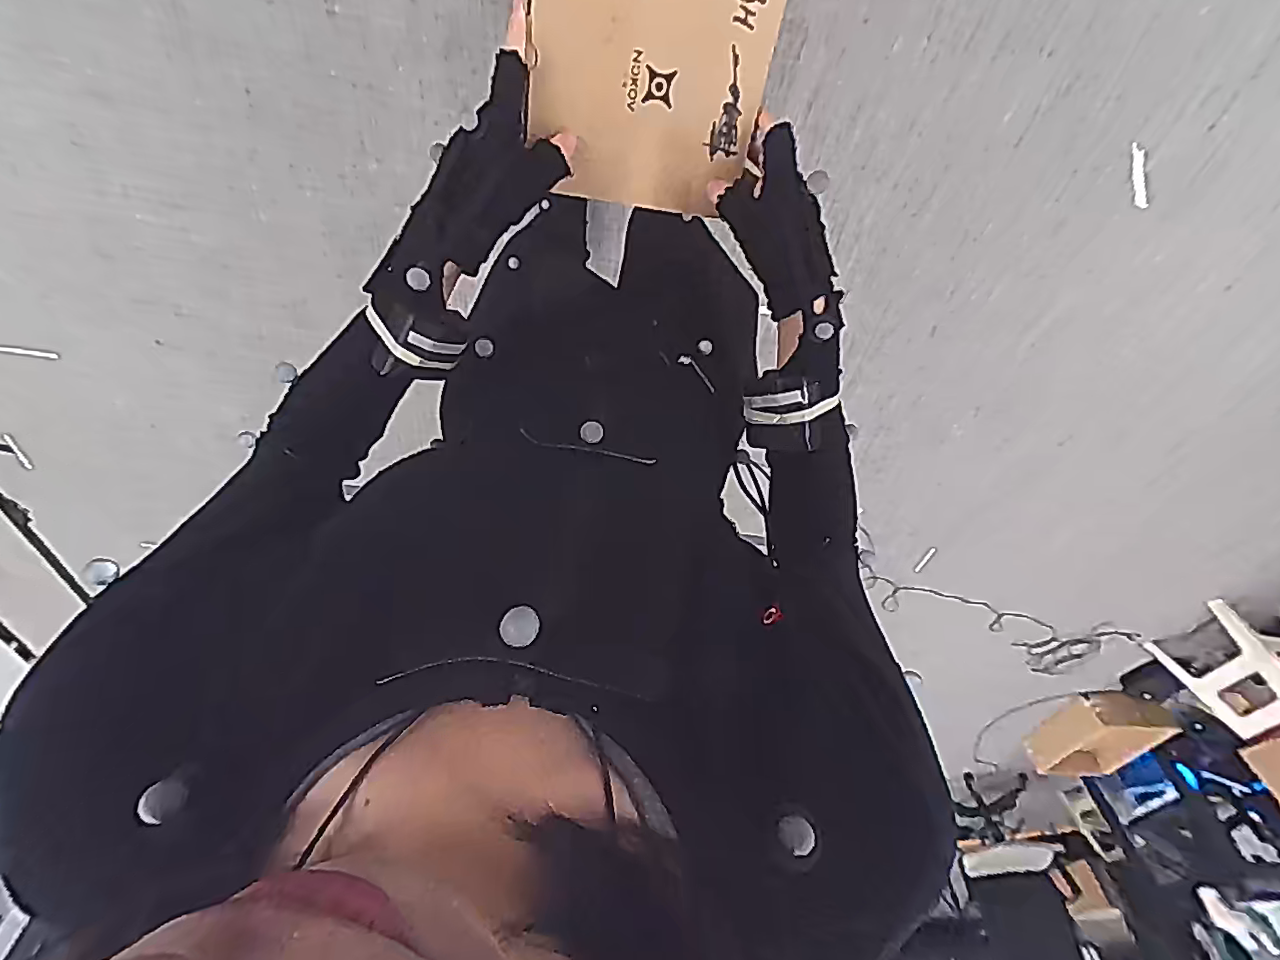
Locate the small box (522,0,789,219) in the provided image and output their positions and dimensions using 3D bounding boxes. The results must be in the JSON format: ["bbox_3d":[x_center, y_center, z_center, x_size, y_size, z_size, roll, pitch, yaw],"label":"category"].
[{"bbox_3d":[0.000,-0.338,0.453,0.179,0.176,0.168,5,127,-11],"label":"small box"}]
